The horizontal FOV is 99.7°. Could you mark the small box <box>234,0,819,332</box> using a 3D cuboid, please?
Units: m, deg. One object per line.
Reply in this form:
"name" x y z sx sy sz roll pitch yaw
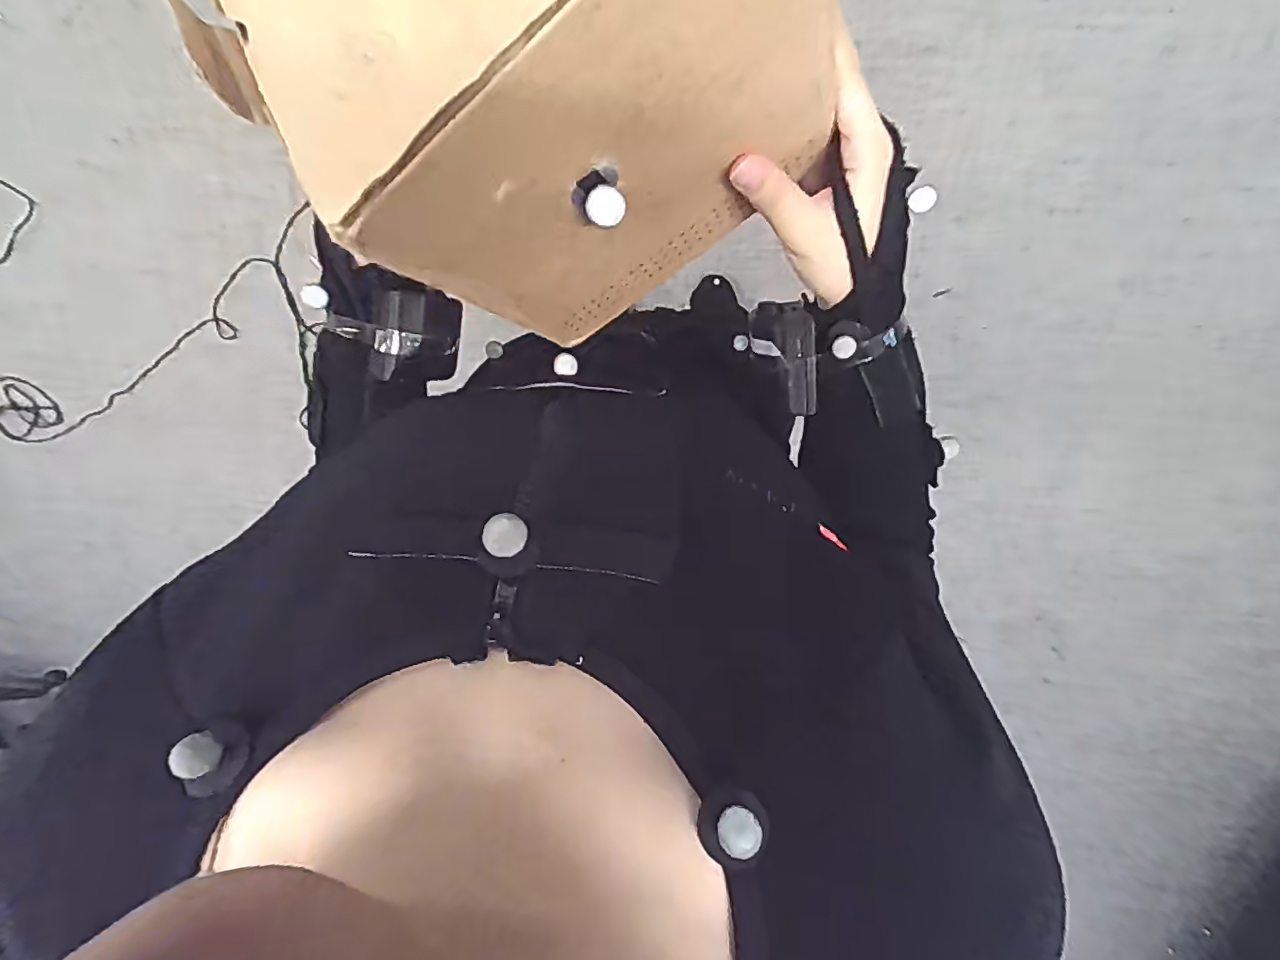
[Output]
"small box" -0.036 -0.193 0.243 0.179 0.176 0.168 -32 81 18
